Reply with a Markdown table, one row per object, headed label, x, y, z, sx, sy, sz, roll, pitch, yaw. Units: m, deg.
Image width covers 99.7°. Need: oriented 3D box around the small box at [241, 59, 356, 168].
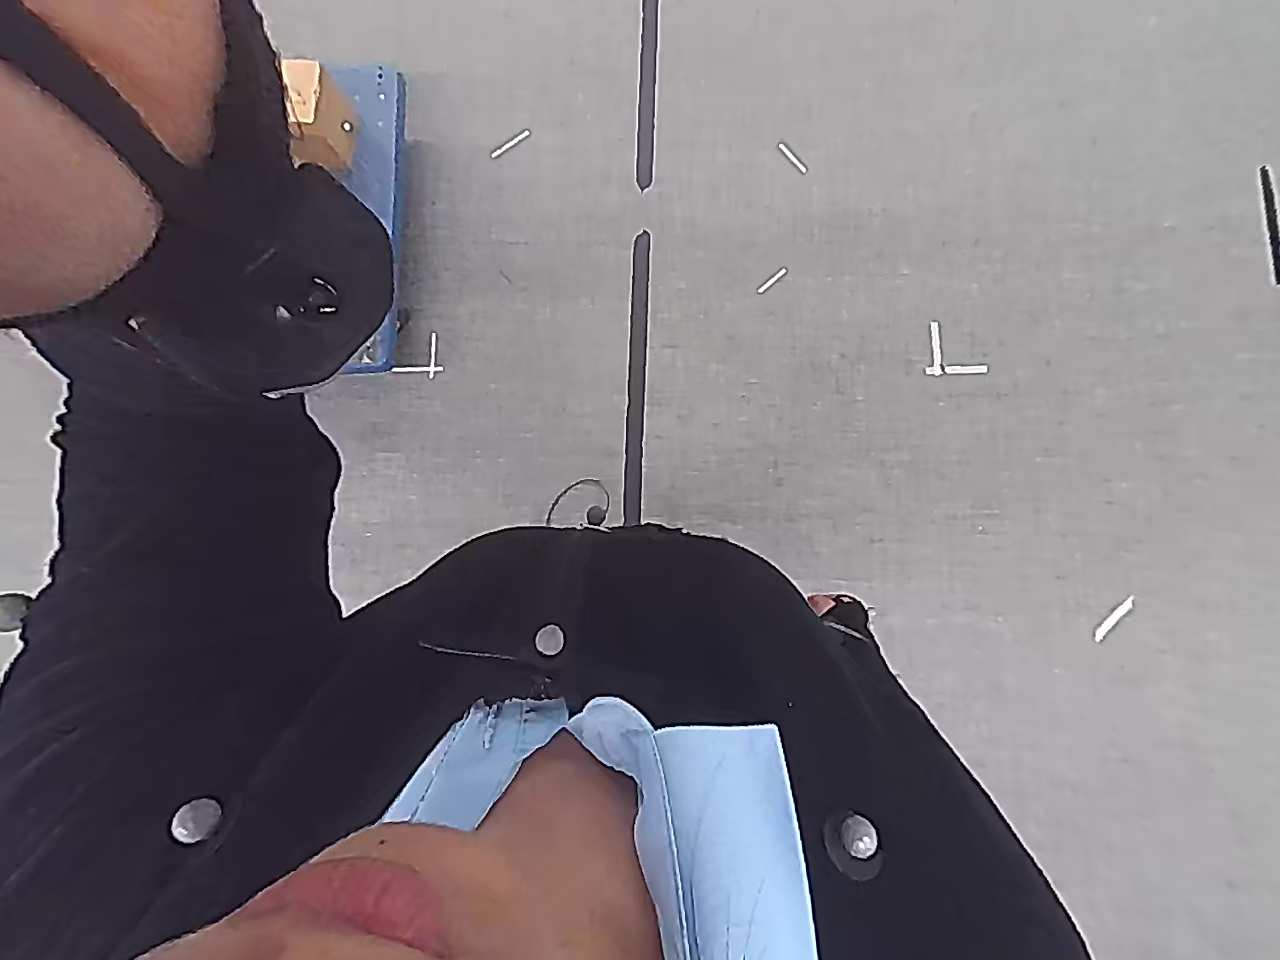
| label | x | y | z | sx | sy | sz | roll | pitch | yaw |
| --- | --- | --- | --- | --- | --- | --- | --- | --- | --- |
| small box | -0.862 | -0.926 | 1.378 | 0.179 | 0.176 | 0.168 | 3 | 84 | 1 |
